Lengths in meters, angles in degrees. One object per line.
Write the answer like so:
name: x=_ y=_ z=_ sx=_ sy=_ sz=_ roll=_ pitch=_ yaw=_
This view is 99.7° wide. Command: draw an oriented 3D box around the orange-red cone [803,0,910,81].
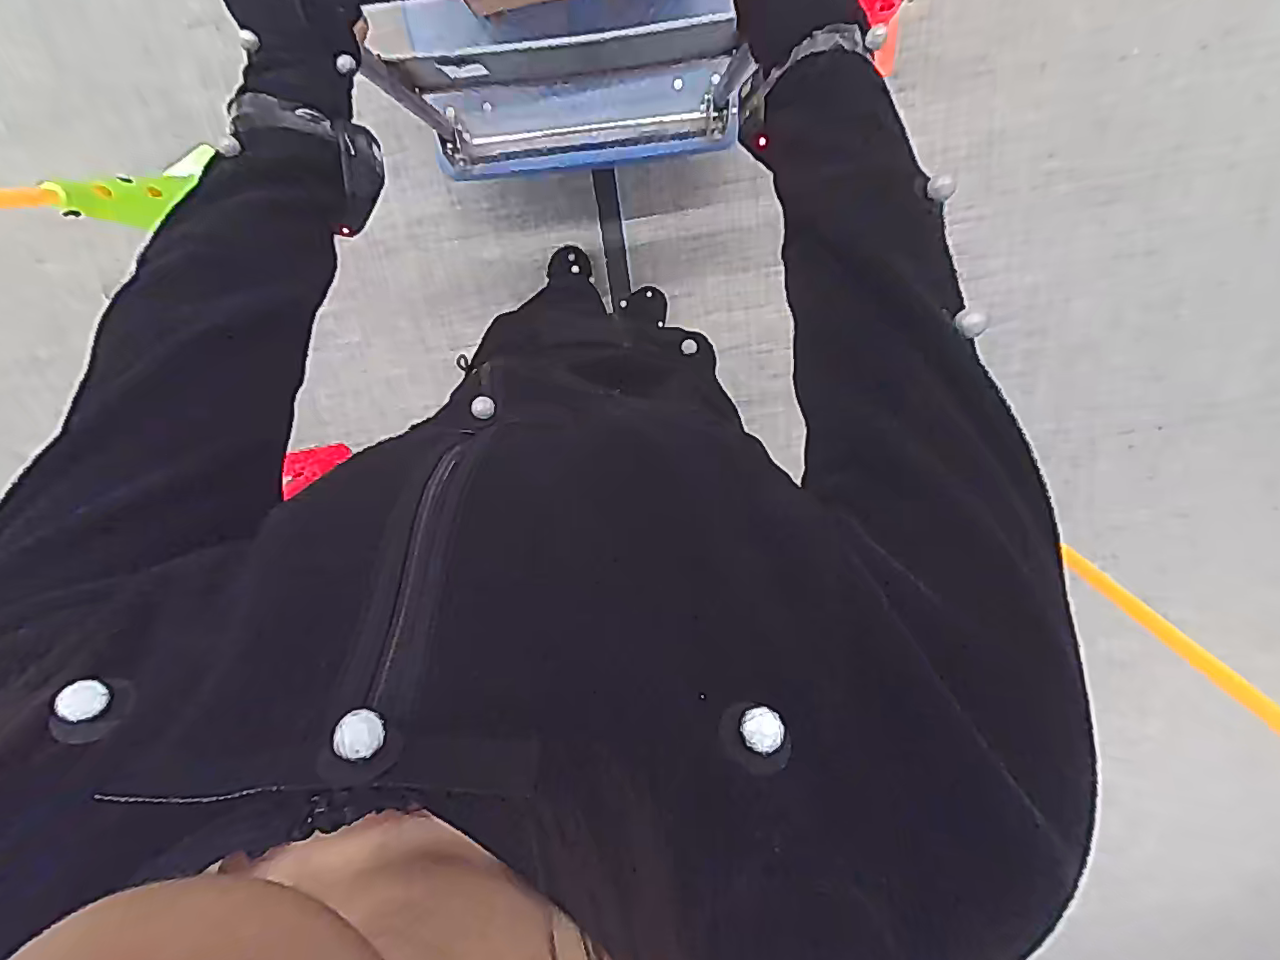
orange-red cone: x=0.440 y=-0.863 z=0.938 sx=0.199 sy=0.360 sz=0.198 roll=-3 pitch=113 yaw=-1
